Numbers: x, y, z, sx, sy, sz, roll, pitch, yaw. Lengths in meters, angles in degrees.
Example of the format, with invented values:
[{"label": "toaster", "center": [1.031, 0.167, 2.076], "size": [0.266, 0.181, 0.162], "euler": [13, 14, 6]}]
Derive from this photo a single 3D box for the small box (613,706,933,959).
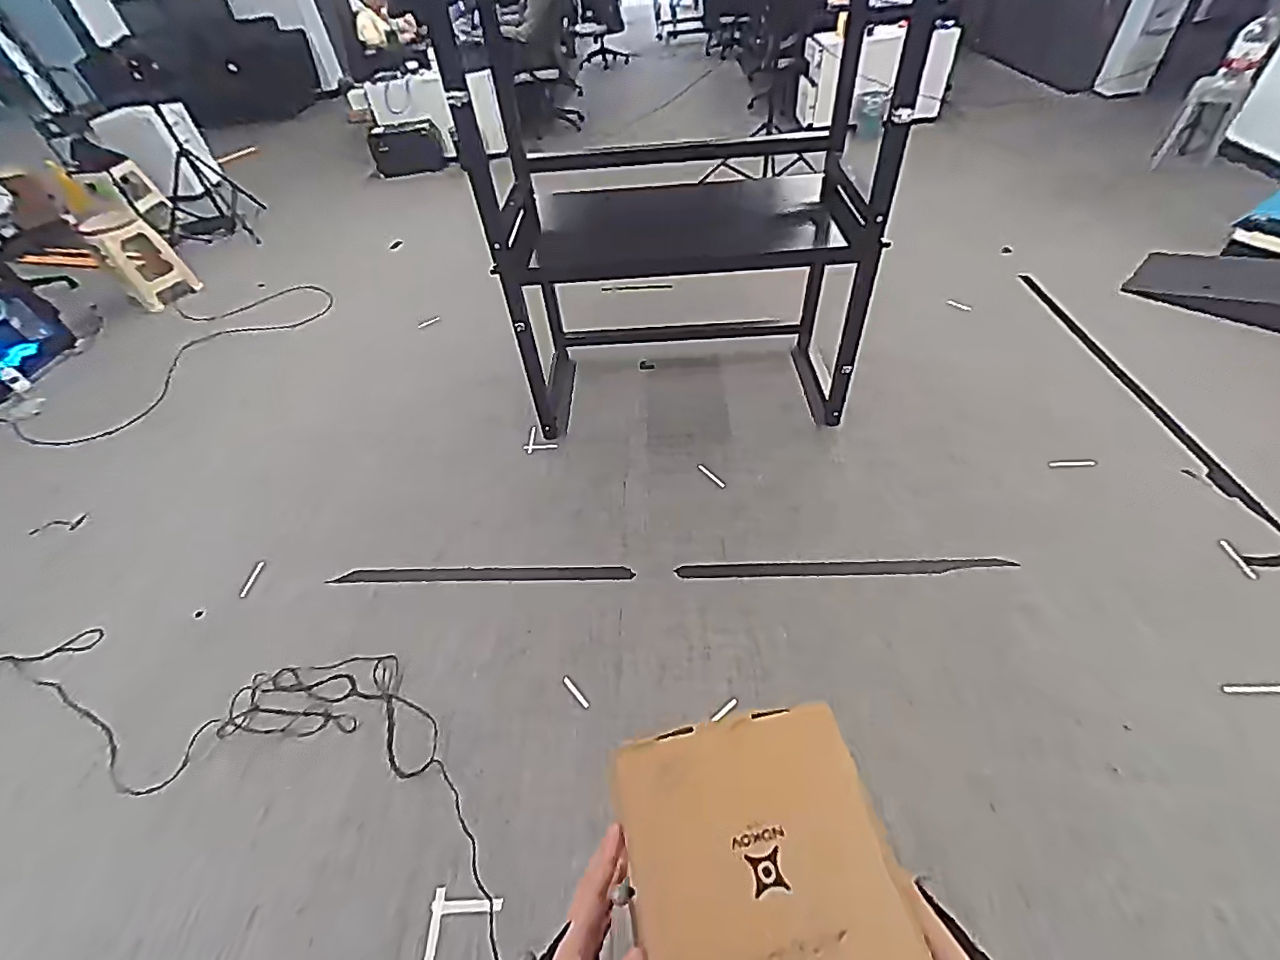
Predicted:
[{"label": "small box", "center": [0.075, 0.294, 0.402], "size": [0.168, 0.176, 0.179], "euler": [-8, 54, -10]}]
